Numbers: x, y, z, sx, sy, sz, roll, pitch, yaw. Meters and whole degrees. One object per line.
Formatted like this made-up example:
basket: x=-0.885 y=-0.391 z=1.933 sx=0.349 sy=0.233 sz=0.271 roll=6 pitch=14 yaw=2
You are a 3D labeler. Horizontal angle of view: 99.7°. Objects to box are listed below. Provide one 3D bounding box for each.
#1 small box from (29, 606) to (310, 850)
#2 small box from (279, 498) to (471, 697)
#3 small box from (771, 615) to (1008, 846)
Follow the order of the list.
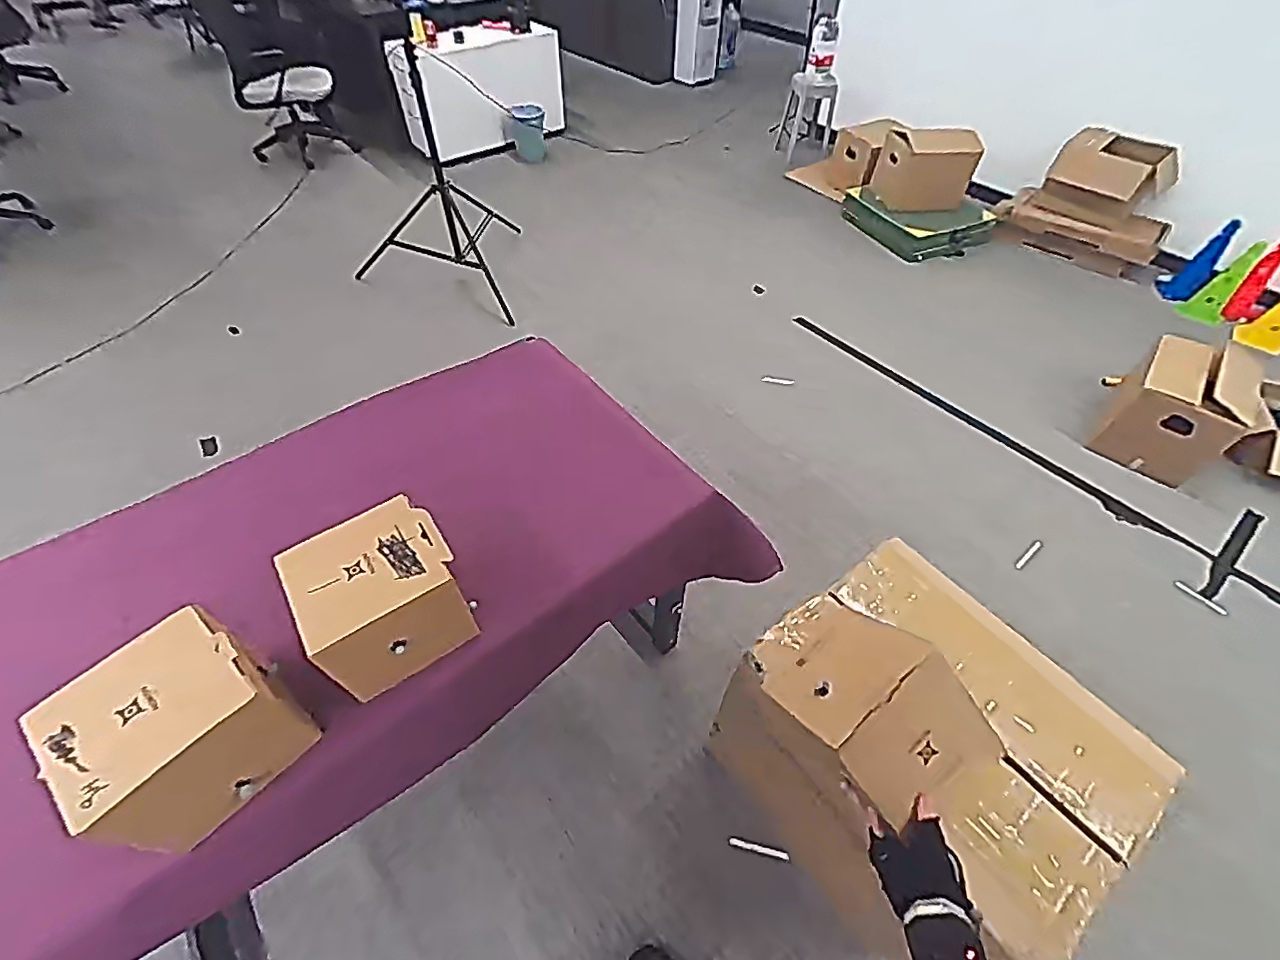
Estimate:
small box: x=-0.528 y=0.291 z=0.639 sx=0.168 sy=0.176 sz=0.179 roll=33 pitch=55 yaw=24
small box: x=-0.351 y=0.163 z=0.749 sx=0.179 sy=0.176 sz=0.168 roll=-29 pitch=56 yaw=-22
small box: x=0.299 y=0.292 z=0.680 sx=0.168 sy=0.176 sz=0.179 roll=-40 pitch=101 yaw=-9
